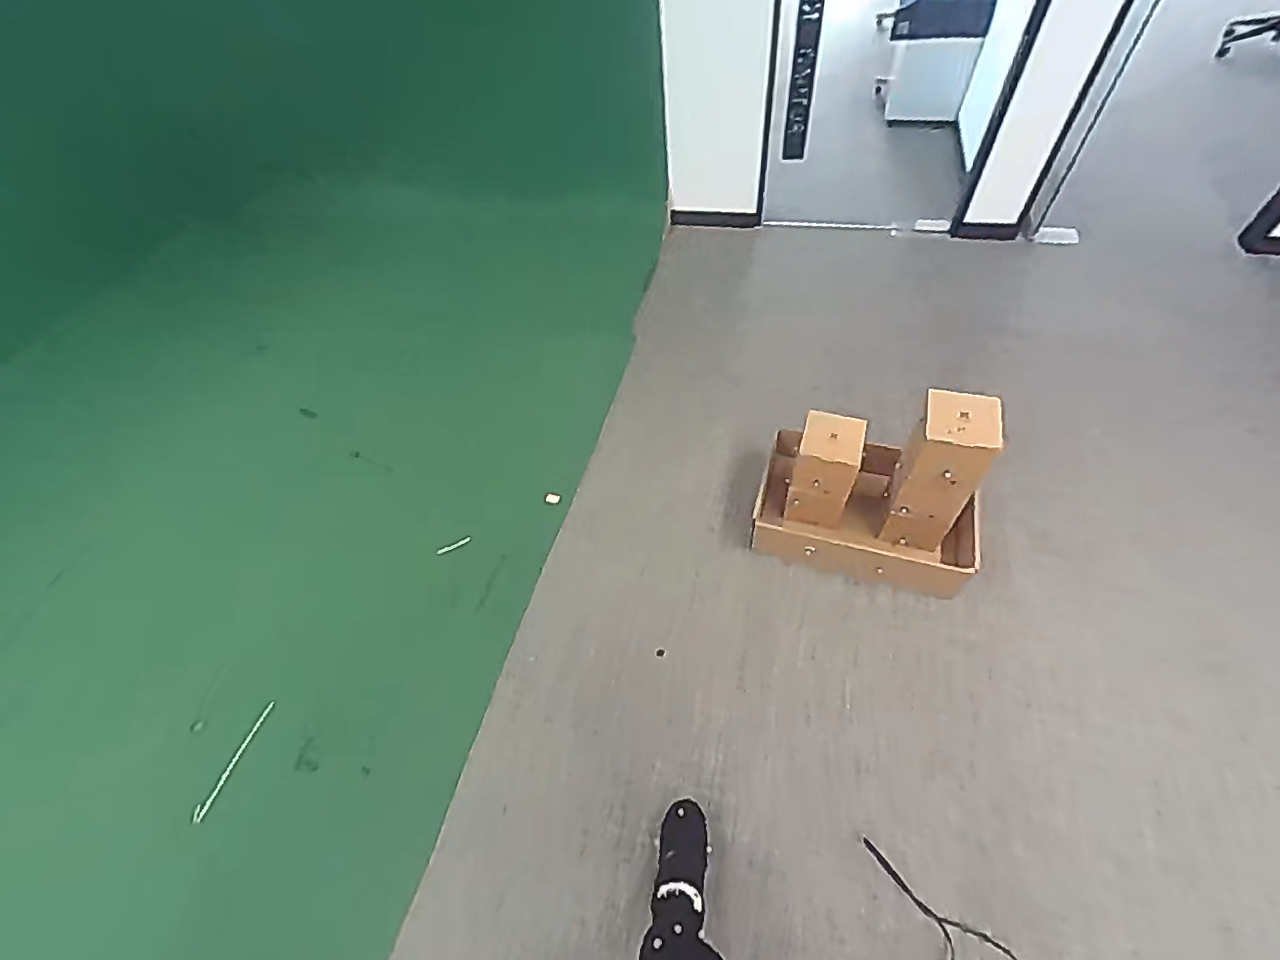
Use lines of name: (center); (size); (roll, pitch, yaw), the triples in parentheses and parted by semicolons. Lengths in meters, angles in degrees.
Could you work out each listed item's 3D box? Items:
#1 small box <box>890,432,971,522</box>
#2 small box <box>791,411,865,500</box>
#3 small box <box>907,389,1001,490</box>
small box: (0.811, -0.006, 1.509); (0.168, 0.176, 0.179); (14, 55, 17)
small box: (0.547, -0.071, 1.586); (0.168, 0.176, 0.179); (13, 55, 14)
small box: (0.792, -0.103, 1.377); (0.168, 0.176, 0.179); (11, 56, 17)
